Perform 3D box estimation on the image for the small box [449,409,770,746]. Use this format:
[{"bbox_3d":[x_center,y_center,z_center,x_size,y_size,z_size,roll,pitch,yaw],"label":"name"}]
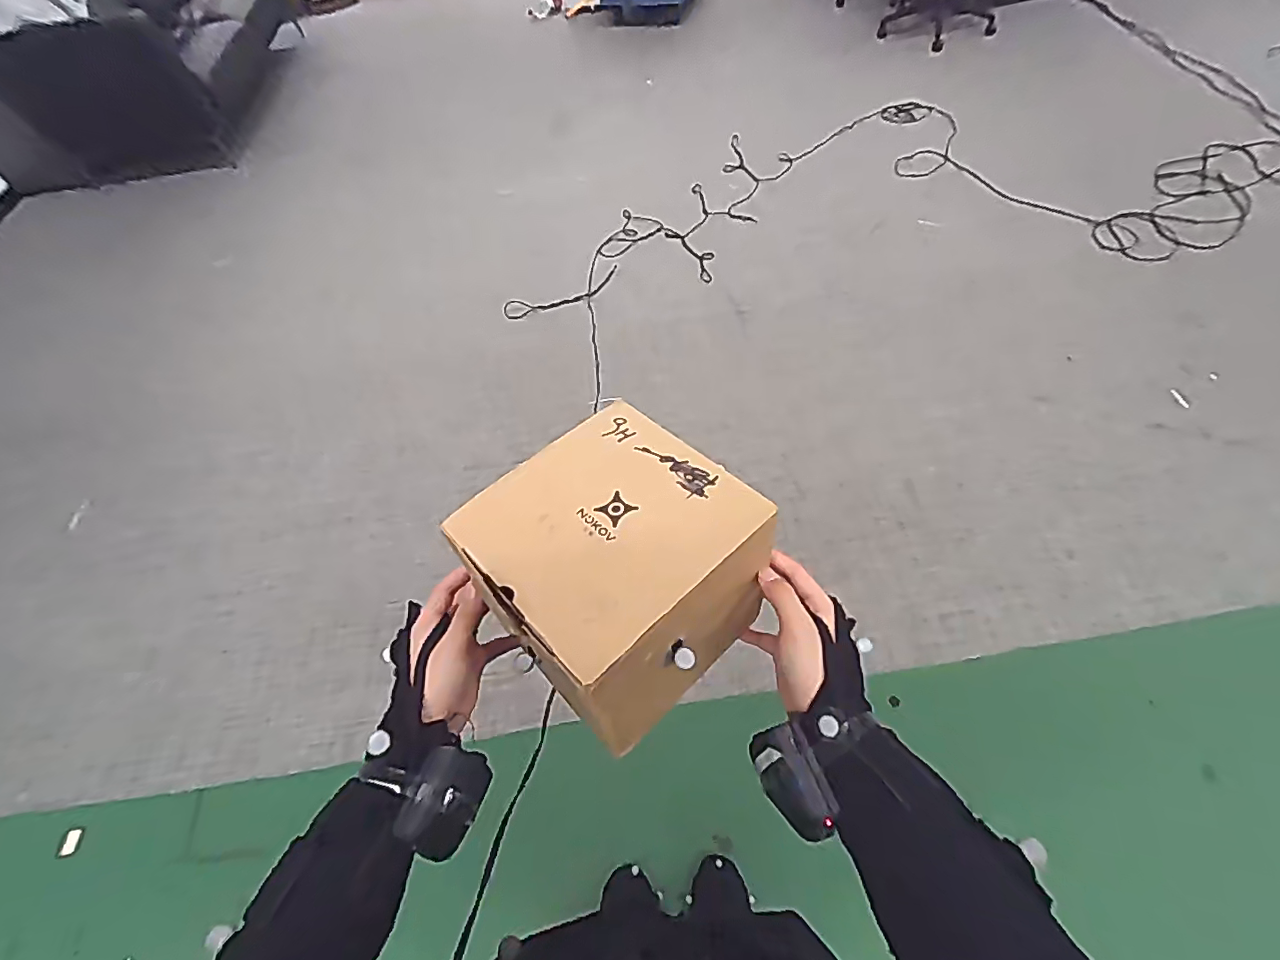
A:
[{"bbox_3d":[-0.015,0.081,0.443,0.179,0.176,0.168,-38,57,-23],"label":"small box"}]
